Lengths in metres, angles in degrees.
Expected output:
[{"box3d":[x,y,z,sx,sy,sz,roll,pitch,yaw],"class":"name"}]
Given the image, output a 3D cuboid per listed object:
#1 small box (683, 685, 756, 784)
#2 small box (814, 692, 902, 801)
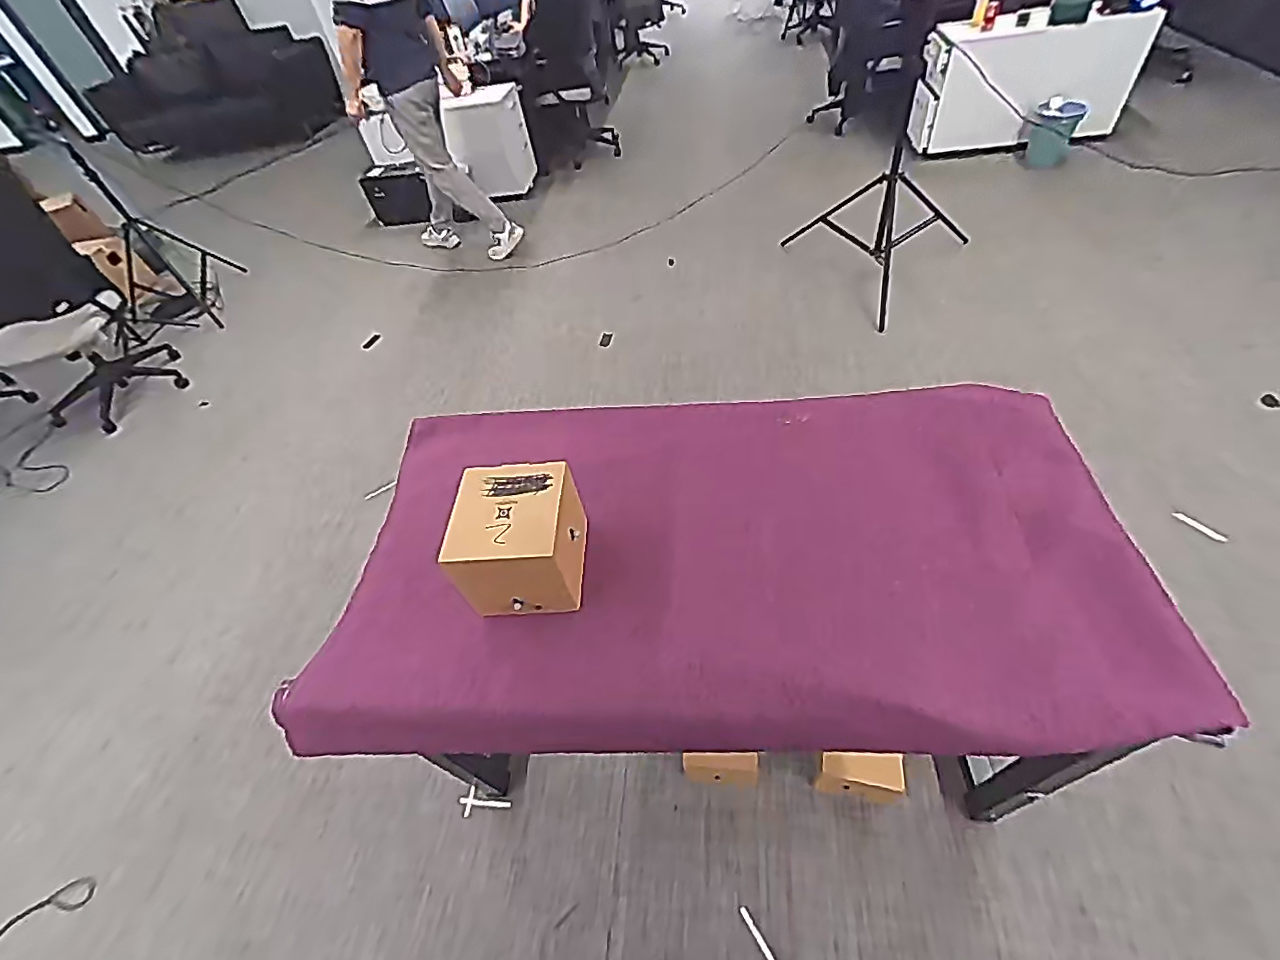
[{"box3d":[0.196,0.618,1.308,0.168,0.176,0.179,0,49,10],"class":"small box"},{"box3d":[0.500,0.621,1.254,0.168,0.176,0.179,5,50,15],"class":"small box"}]
